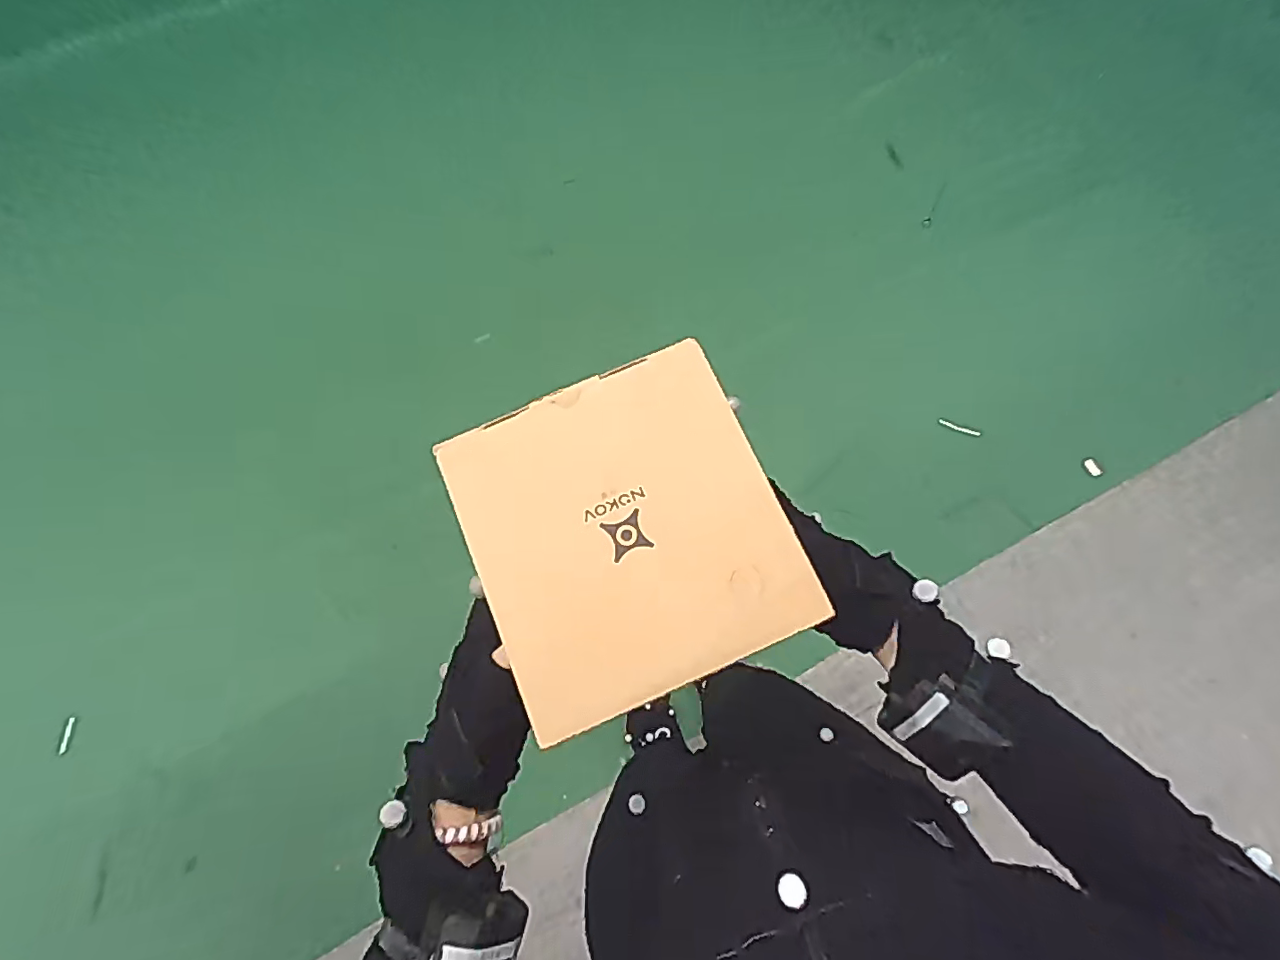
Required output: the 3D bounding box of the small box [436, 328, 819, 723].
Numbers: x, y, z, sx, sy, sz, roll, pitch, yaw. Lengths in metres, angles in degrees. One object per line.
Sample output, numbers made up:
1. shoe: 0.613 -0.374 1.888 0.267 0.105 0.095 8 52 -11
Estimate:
1. small box: -0.007 0.035 0.374 0.168 0.176 0.179 -24 76 -3
